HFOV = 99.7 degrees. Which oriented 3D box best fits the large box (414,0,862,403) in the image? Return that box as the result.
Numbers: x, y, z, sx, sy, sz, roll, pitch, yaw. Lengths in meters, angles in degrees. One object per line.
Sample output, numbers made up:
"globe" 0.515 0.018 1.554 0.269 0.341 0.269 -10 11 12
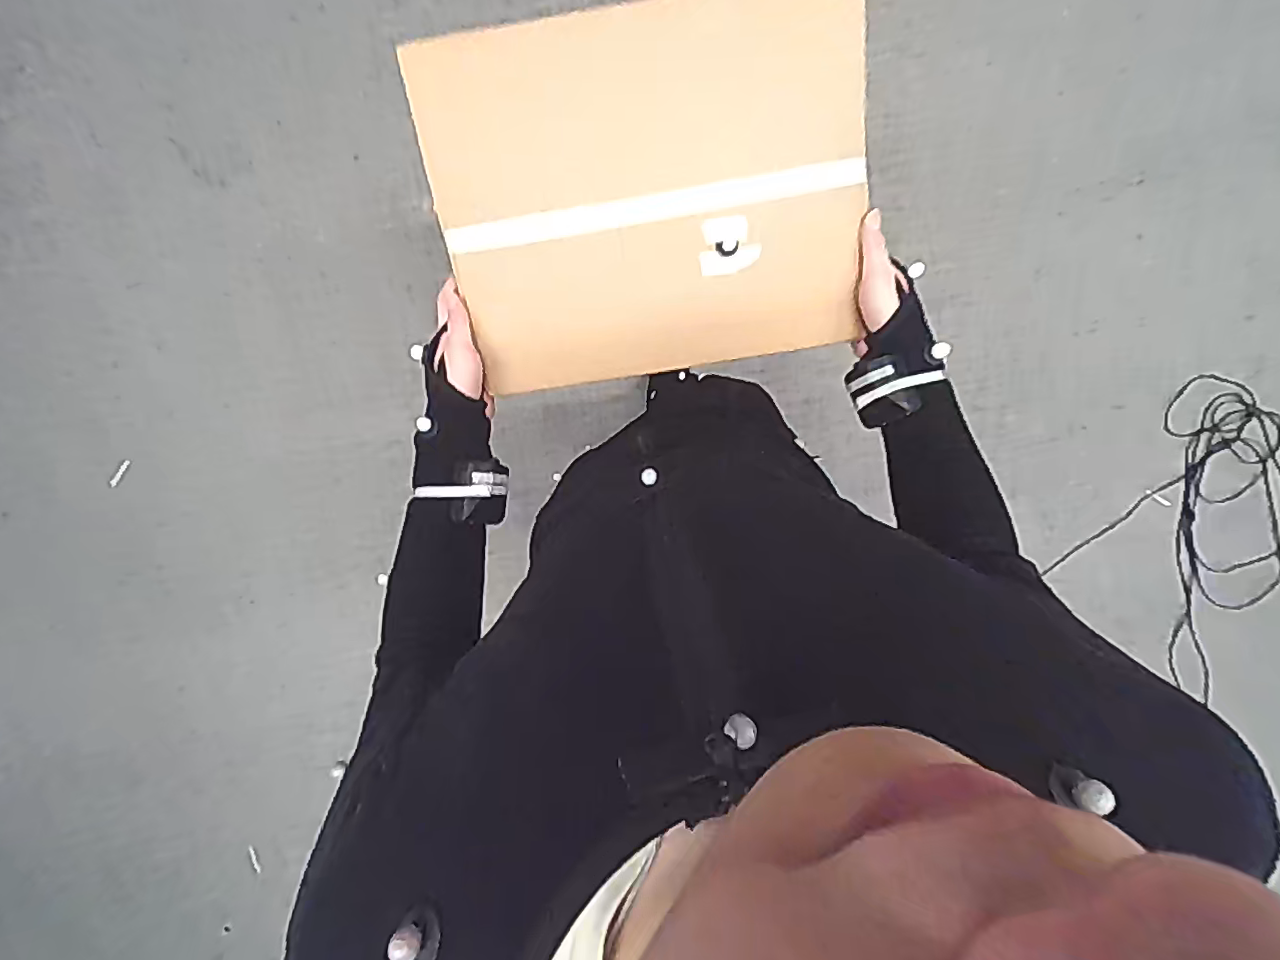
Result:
"large box" 0.009 -0.308 0.669 0.408 0.320 0.320 -10 111 2
